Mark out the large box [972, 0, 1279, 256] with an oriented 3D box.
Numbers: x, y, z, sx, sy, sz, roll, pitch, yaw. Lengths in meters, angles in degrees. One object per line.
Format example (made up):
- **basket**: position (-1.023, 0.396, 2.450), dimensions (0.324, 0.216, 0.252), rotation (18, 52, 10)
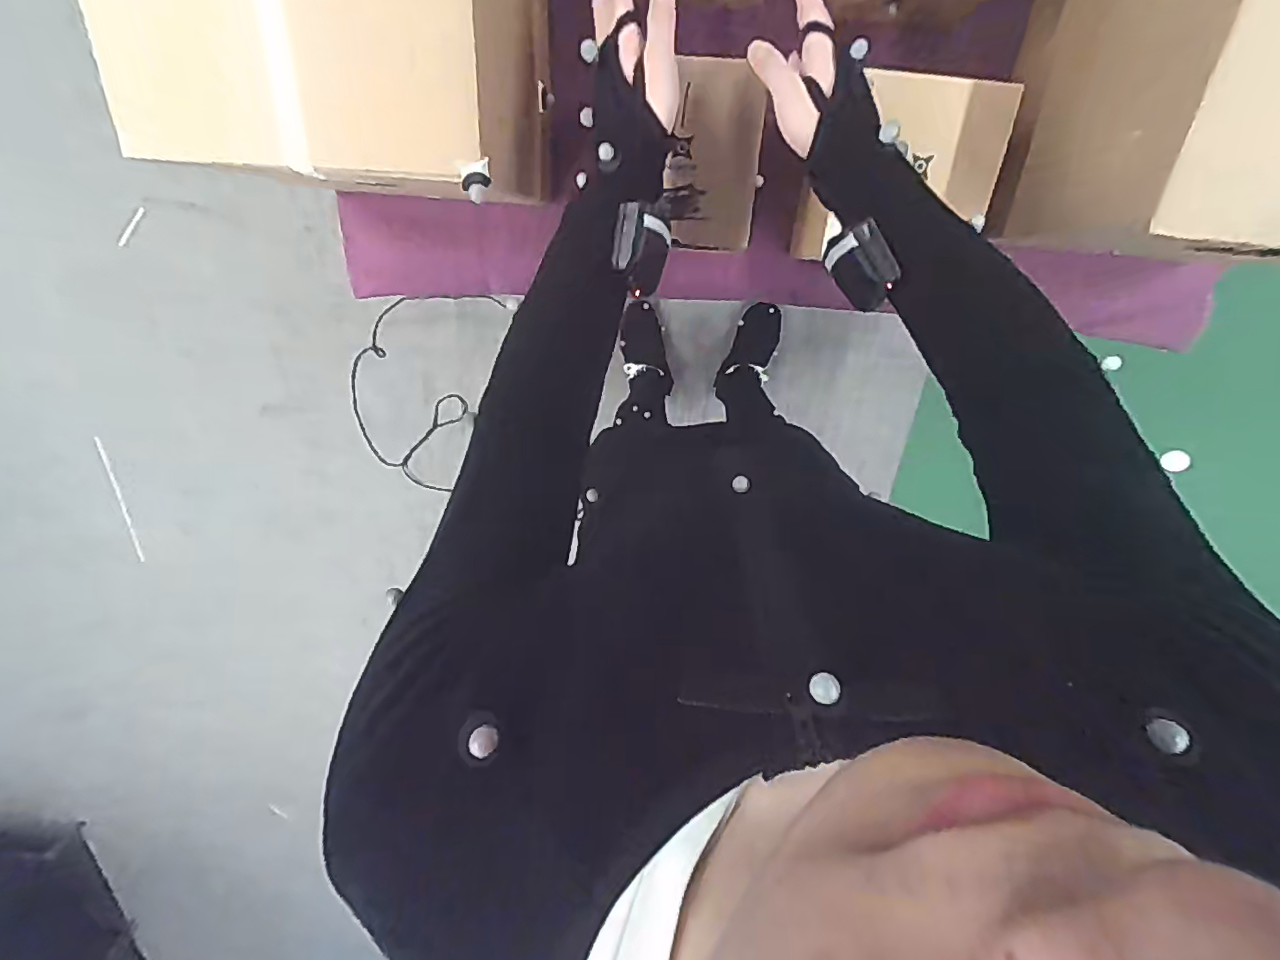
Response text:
- **large box**: position (0.597, -0.437, 0.508), dimensions (0.320, 0.320, 0.408), rotation (5, 114, 1)
